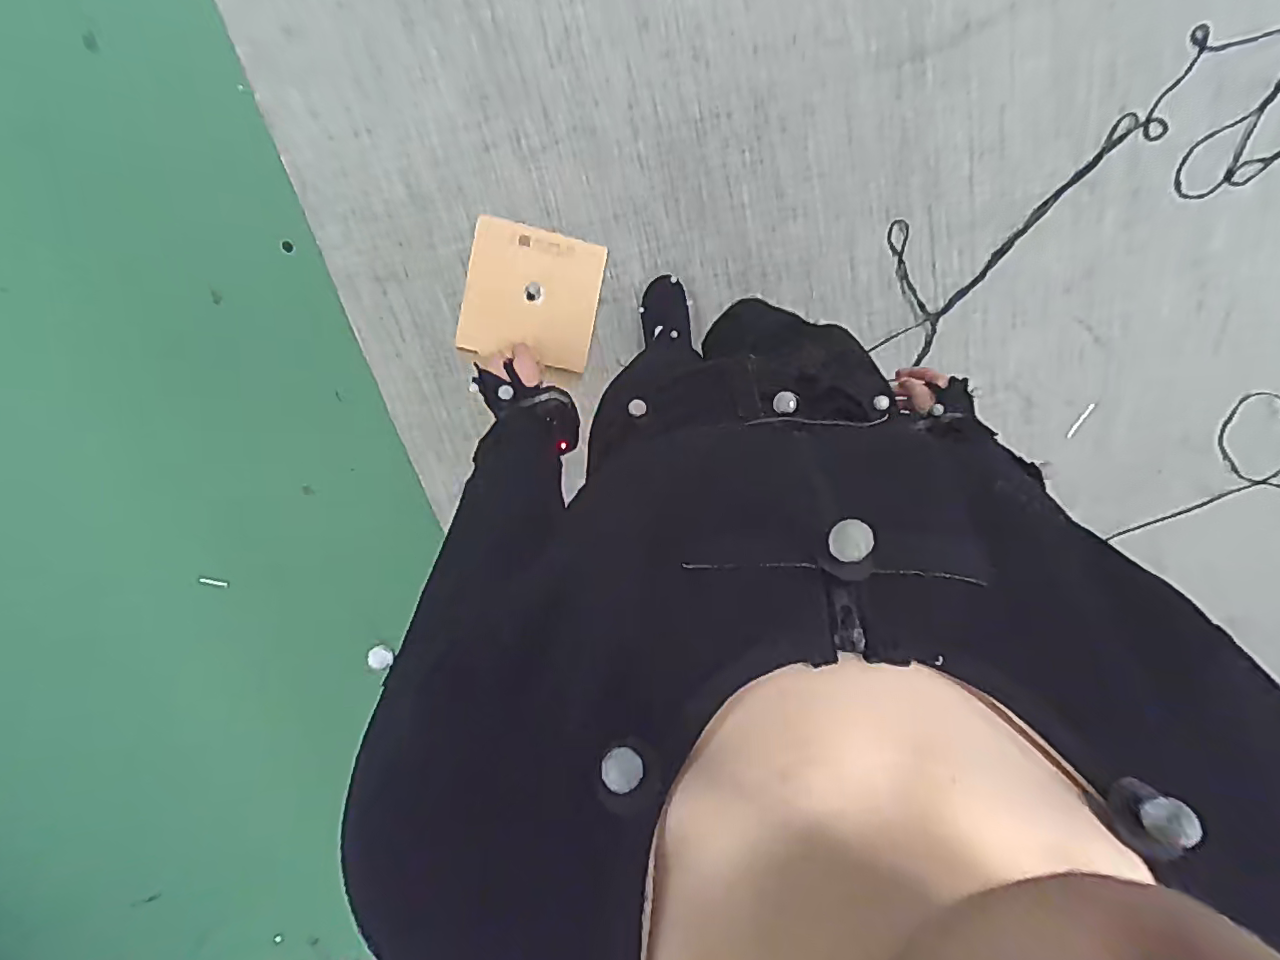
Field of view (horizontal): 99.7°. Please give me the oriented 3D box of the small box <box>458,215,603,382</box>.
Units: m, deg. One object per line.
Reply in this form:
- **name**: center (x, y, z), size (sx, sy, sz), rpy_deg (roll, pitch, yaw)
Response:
- **small box**: center (-0.152, -0.243, 0.756), size (0.168, 0.179, 0.176), rpy_deg (10, 93, -13)
